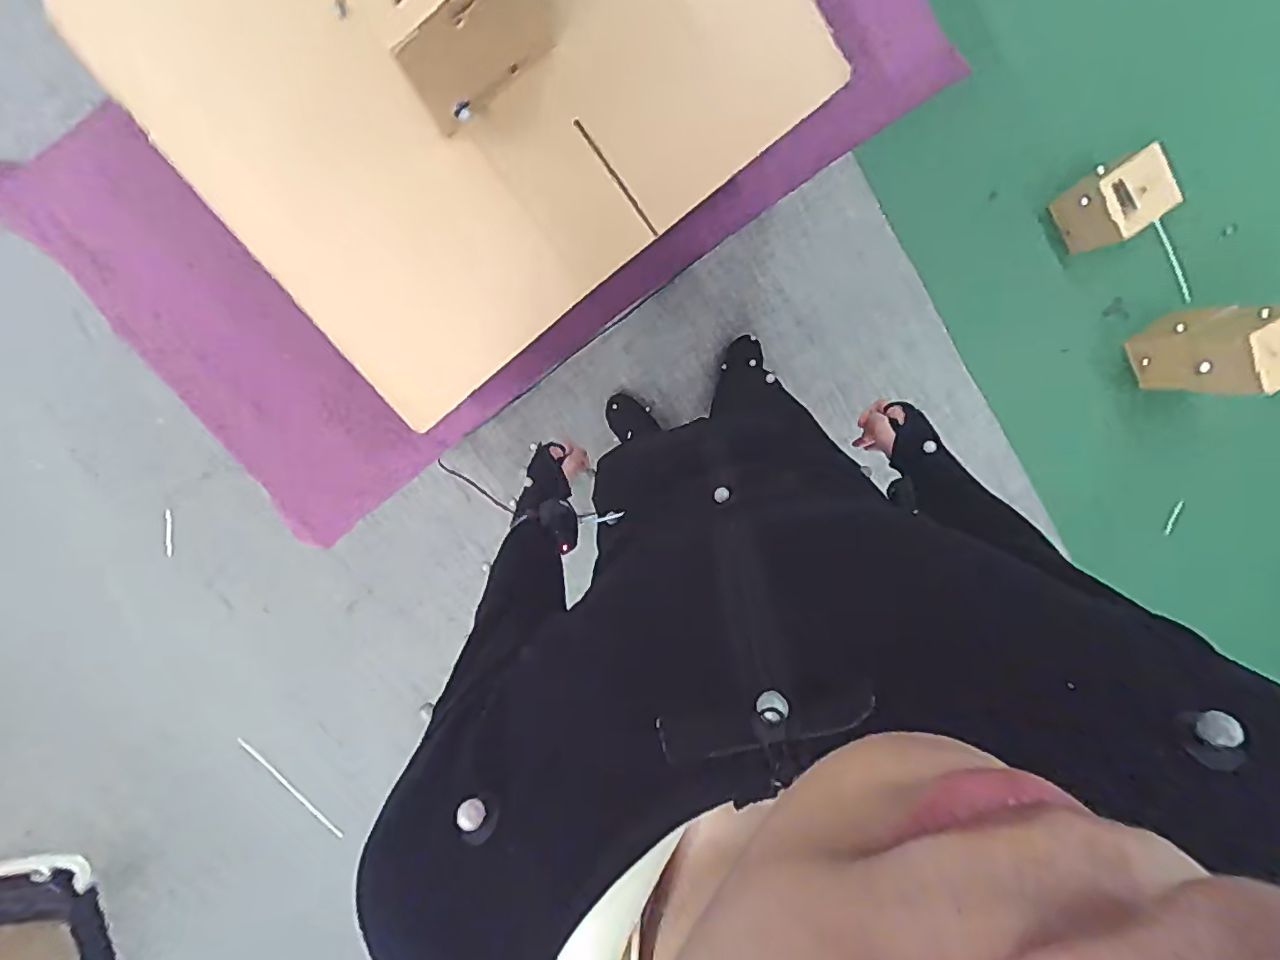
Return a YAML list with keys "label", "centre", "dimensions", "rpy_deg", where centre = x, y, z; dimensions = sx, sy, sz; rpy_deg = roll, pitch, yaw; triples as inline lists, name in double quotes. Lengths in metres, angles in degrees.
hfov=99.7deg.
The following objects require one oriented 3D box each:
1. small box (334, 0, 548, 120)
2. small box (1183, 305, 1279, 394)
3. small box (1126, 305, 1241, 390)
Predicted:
- label: "small box"
  centre: [-0.202, -0.477, 0.499]
  dimensions: [0.168, 0.176, 0.179]
  rpy_deg: [-39, 101, 3]
- label: "small box"
  centre: [1.567, -0.337, 1.381]
  dimensions: [0.179, 0.176, 0.168]
  rpy_deg: [-30, 102, 4]
- label: "small box"
  centre: [1.560, -0.376, 1.540]
  dimensions: [0.179, 0.176, 0.168]
  rpy_deg: [-31, 102, 4]
